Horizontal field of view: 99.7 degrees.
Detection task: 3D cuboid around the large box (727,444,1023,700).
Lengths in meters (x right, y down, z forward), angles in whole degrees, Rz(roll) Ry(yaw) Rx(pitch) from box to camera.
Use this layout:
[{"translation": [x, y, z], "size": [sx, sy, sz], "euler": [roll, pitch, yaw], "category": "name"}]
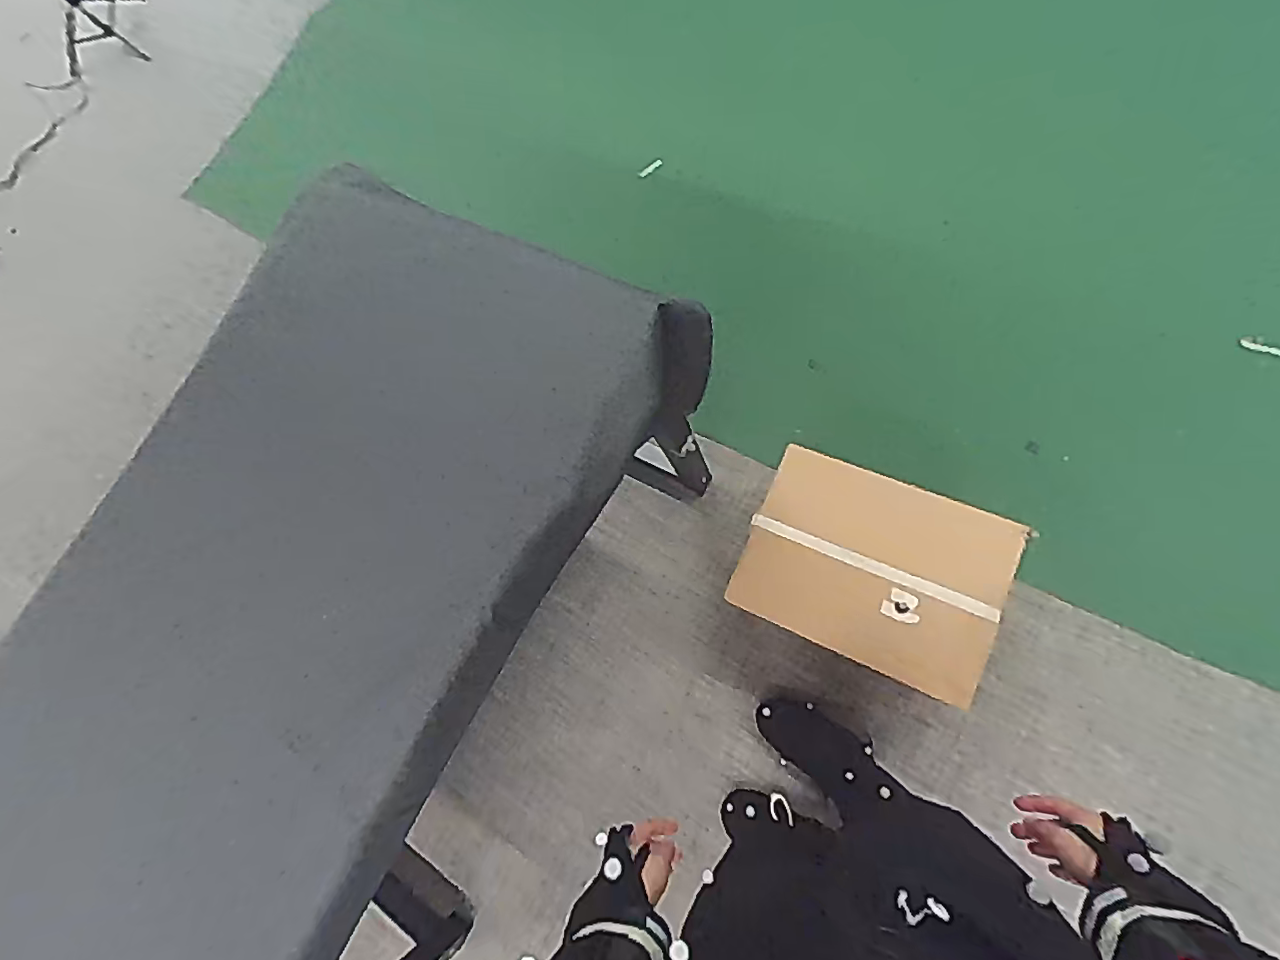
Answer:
[{"translation": [0.415, 0.176, 1.050], "size": [0.408, 0.320, 0.320], "euler": [23, 81, 18], "category": "large box"}]
